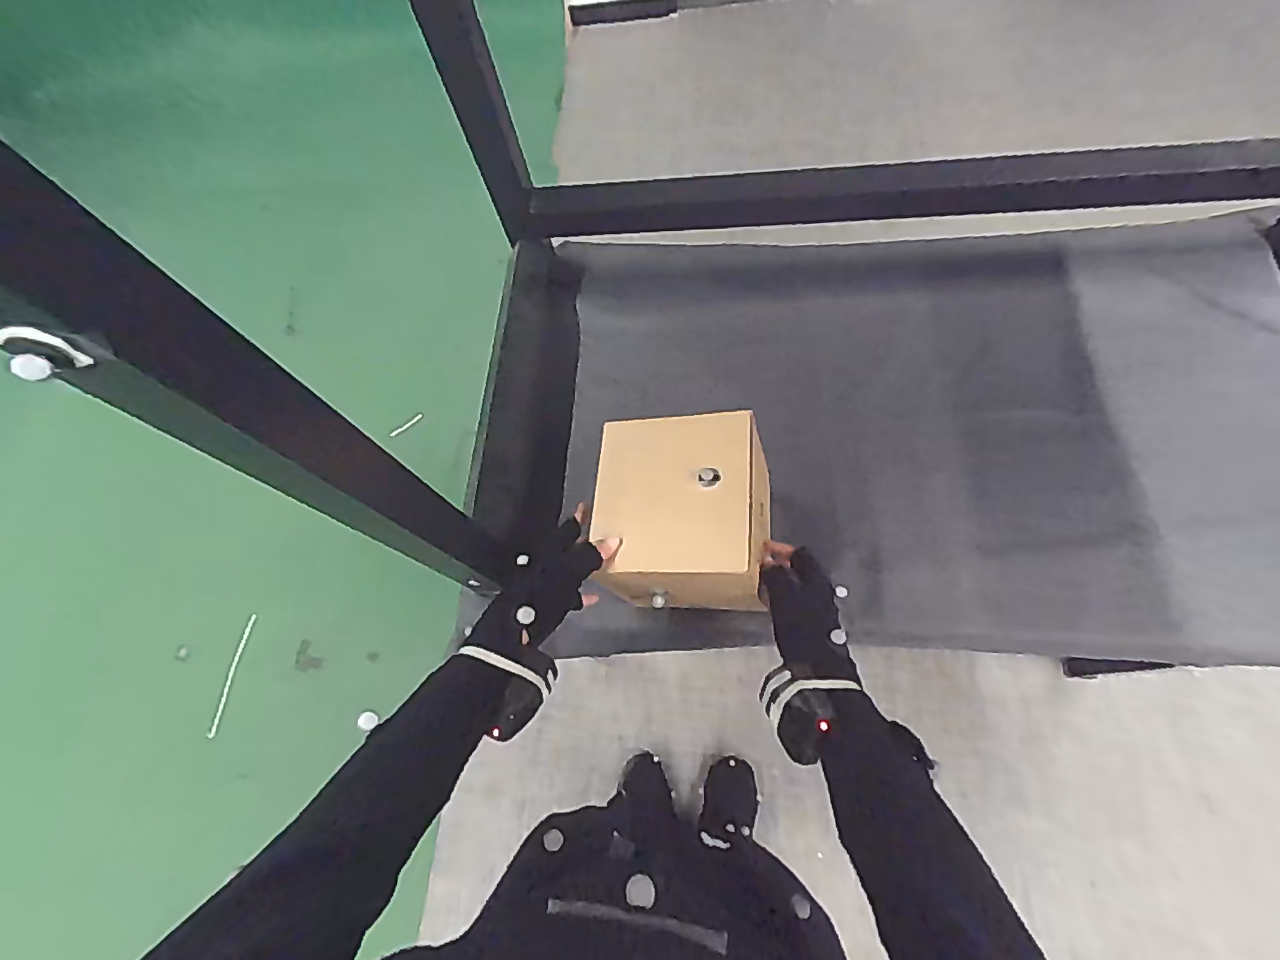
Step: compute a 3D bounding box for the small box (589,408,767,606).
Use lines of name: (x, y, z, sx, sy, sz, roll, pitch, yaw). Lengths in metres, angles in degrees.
small box: (0.051, 0.039, 0.619, 0.176, 0.168, 0.179, -3, 64, 18)
